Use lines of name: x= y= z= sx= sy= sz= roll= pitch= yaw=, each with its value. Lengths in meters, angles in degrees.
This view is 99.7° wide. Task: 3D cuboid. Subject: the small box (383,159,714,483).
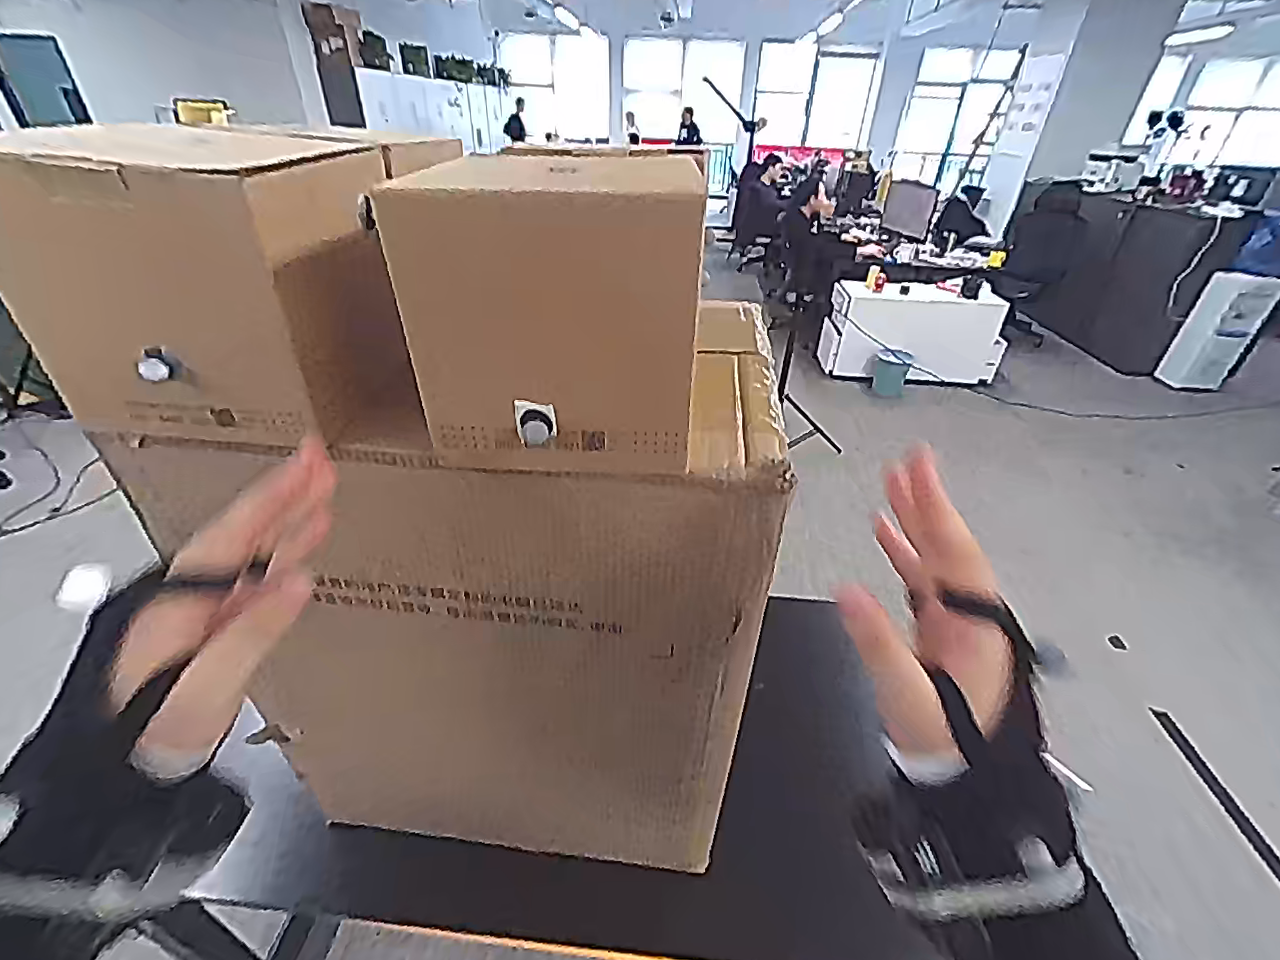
small box: x=-0.044 y=-0.116 z=0.374 sx=0.168 sy=0.176 sz=0.179 roll=0 pitch=36 yaw=1
